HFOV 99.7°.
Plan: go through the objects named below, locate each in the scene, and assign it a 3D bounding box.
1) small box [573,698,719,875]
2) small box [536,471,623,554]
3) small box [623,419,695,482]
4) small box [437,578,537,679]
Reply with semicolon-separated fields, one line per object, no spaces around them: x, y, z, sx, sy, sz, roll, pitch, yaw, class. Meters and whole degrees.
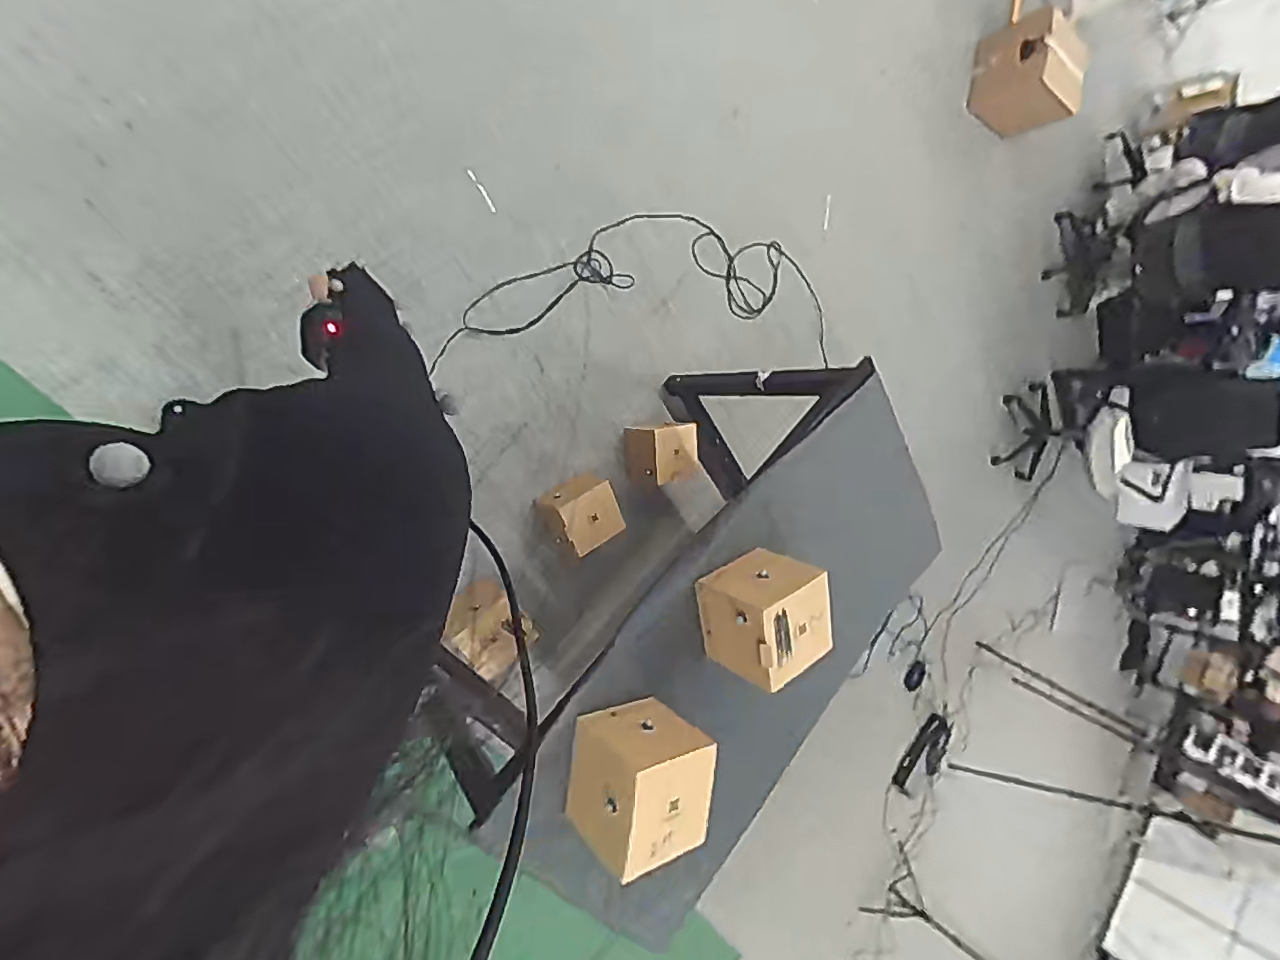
0.005;0.477;0.882;0.168;0.176;0.179;3;96;-38;small box
-0.185;0.090;1.592;0.179;0.176;0.168;-34;116;-28;small box
0.057;-0.101;1.735;0.168;0.176;0.179;-13;105;-34;small box
-0.420;0.394;1.472;0.179;0.176;0.168;-41;118;-22;small box
